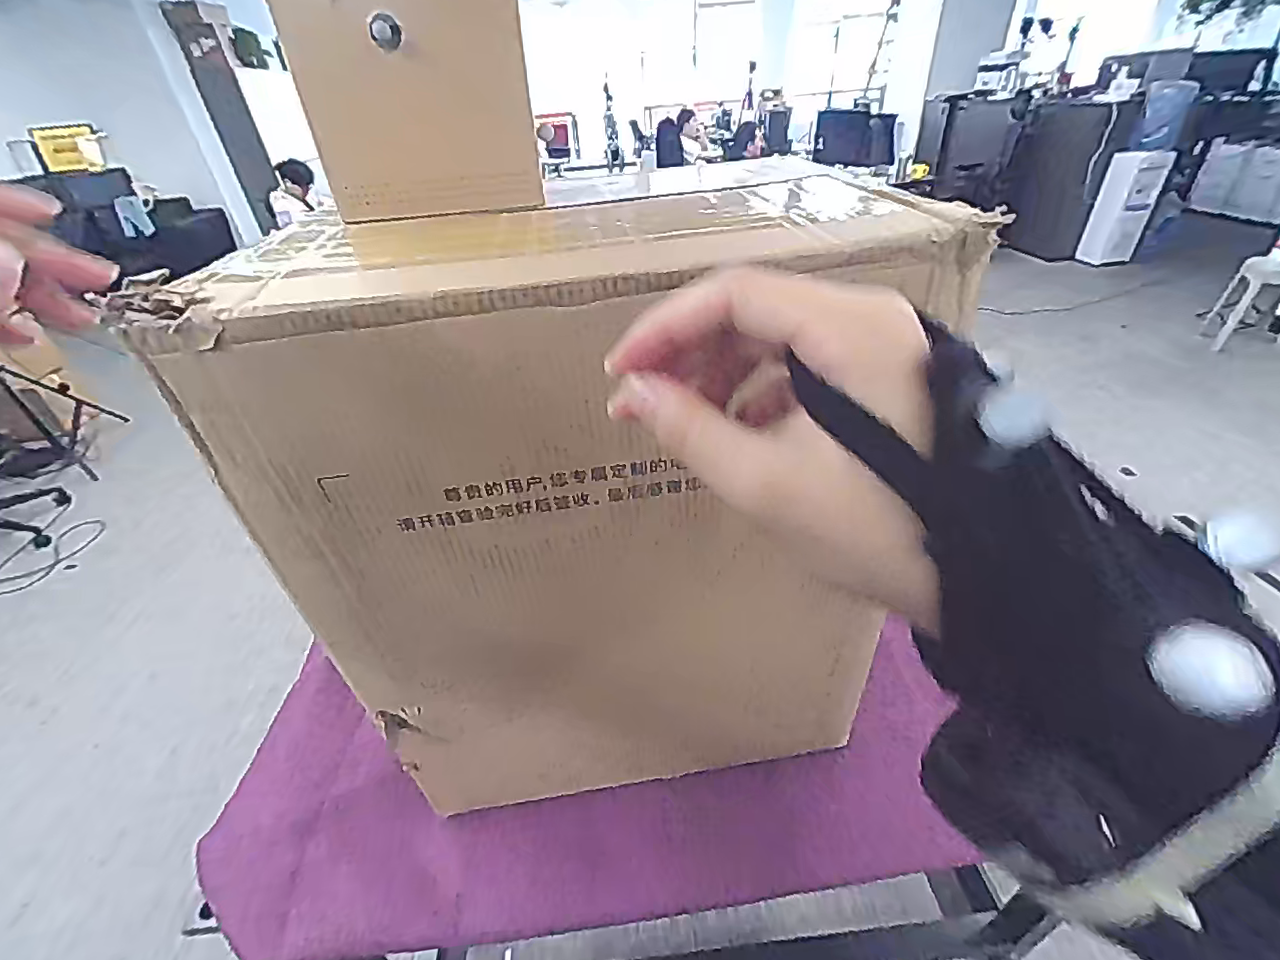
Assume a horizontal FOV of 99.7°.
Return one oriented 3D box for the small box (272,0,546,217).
[{"bbox_3d":[-0.186,-0.343,0.484,0.179,0.176,0.168,-8,36,-7],"label":"small box"}]
